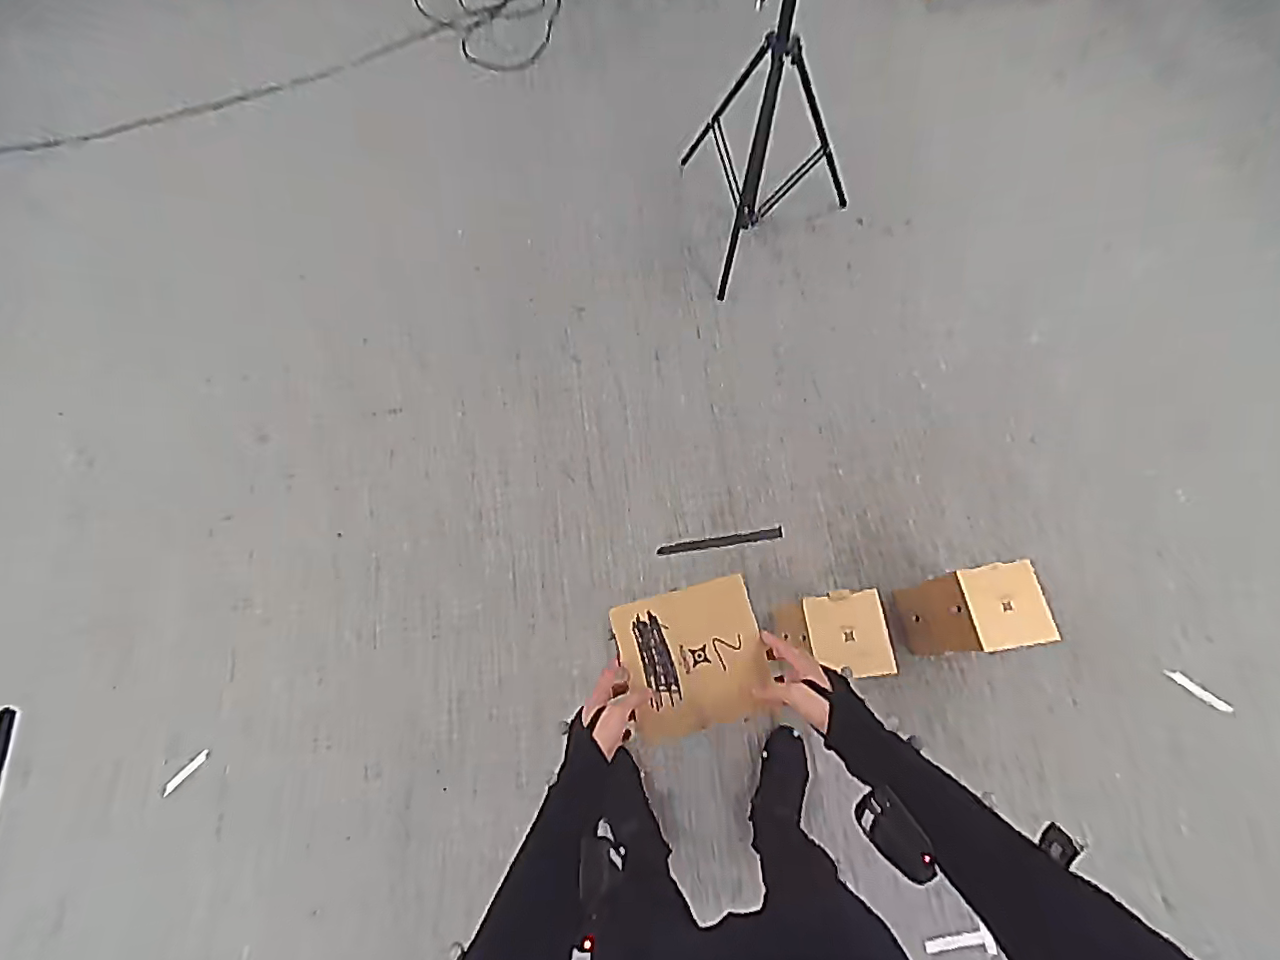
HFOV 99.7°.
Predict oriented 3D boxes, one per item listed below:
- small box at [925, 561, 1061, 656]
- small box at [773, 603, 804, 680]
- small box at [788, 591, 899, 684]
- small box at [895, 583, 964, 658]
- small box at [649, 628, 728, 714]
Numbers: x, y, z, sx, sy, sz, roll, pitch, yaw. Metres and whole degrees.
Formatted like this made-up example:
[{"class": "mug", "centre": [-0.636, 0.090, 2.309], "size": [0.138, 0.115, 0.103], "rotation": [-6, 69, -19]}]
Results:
[{"class": "small box", "centre": [0.777, 0.294, 1.213], "size": [0.168, 0.176, 0.179], "rotation": [-9, 70, -2]}, {"class": "small box", "centre": [0.443, 0.402, 1.358], "size": [0.168, 0.176, 0.179], "rotation": [-7, 71, 0]}, {"class": "small box", "centre": [0.440, 0.354, 1.201], "size": [0.168, 0.176, 0.179], "rotation": [-7, 71, 0]}, {"class": "small box", "centre": [0.779, 0.348, 1.366], "size": [0.168, 0.176, 0.179], "rotation": [-10, 70, -2]}, {"class": "small box", "centre": [0.114, 0.476, 1.347], "size": [0.168, 0.176, 0.179], "rotation": [-8, 70, 0]}]
